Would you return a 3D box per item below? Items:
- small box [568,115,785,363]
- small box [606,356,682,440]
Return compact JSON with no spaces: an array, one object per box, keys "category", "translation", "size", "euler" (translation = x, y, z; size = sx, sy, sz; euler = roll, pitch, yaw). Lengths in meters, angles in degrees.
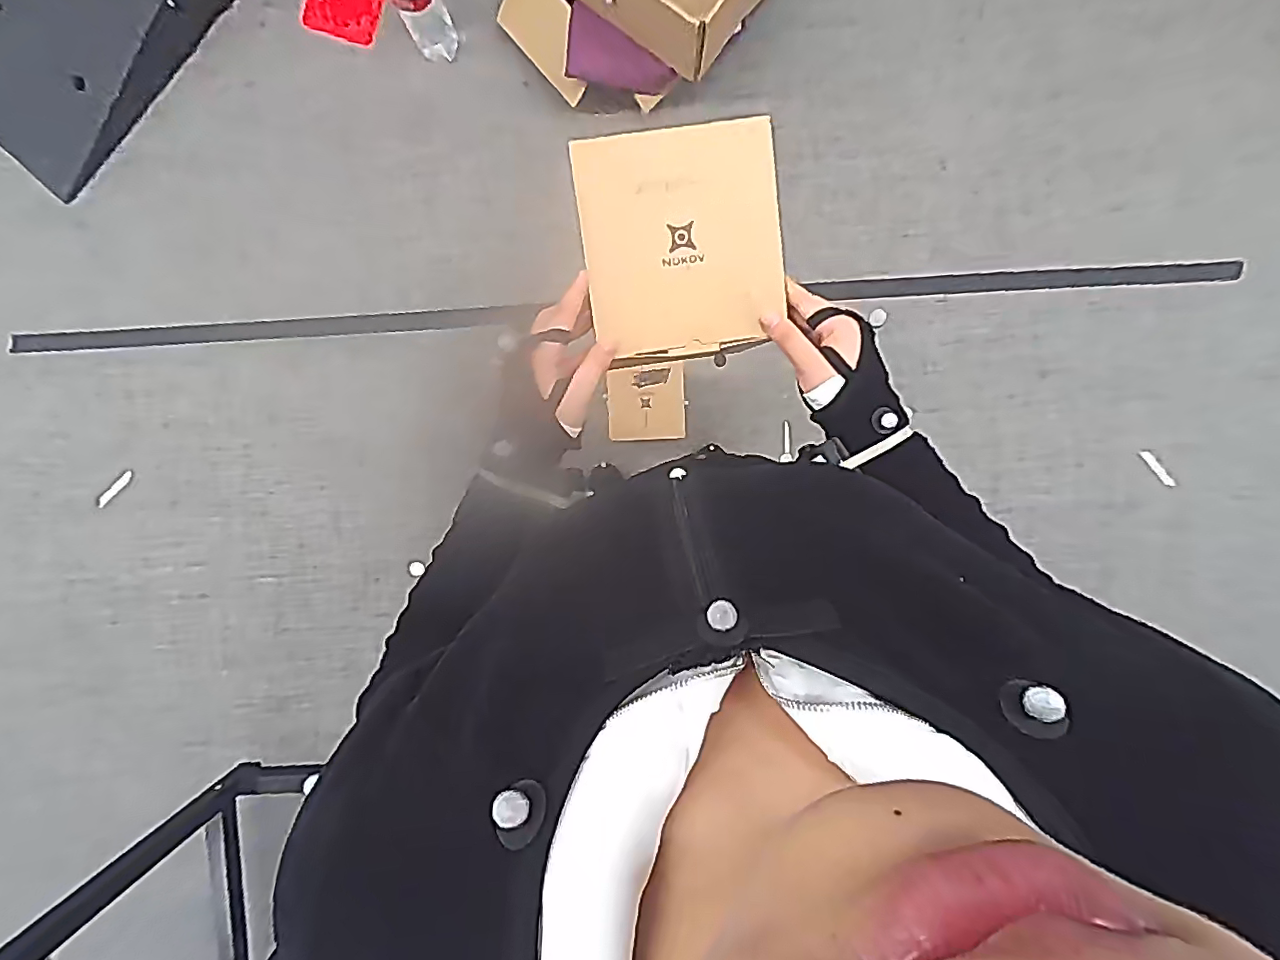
[{"category":"small box","translation":[0.030,-0.211,0.525],"size":[0.168,0.176,0.179],"euler":[-9,99,-2]},{"category":"small box","translation":[0.008,-0.182,1.241],"size":[0.168,0.176,0.179],"euler":[-2,95,1]}]
